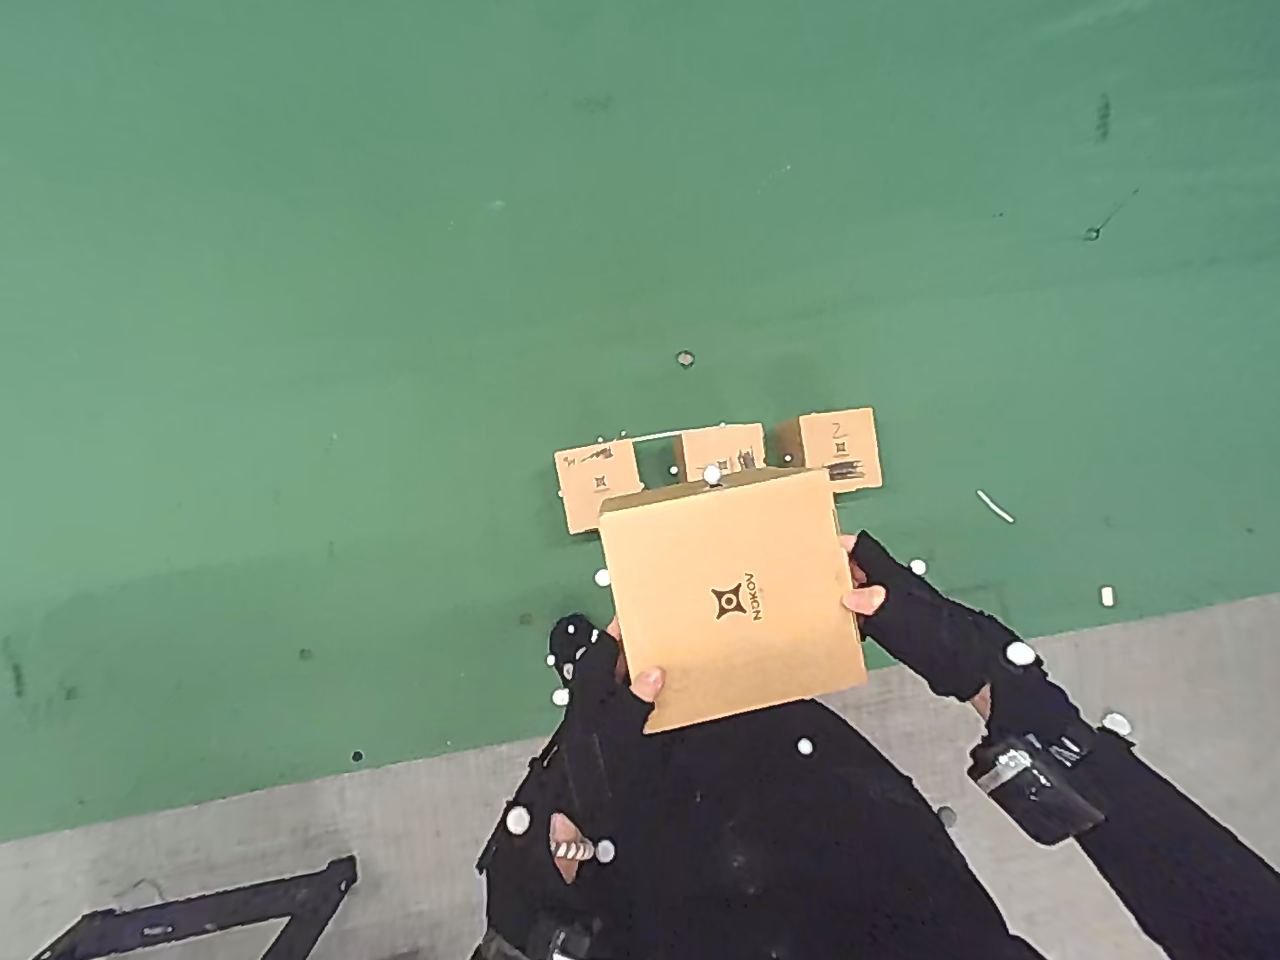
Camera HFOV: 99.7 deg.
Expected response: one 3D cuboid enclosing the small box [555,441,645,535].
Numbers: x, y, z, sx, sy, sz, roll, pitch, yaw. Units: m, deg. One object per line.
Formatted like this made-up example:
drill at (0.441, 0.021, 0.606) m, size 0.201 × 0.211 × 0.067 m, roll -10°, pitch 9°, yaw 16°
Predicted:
small box at (-0.086, 0.014, 1.193) m, size 0.168 × 0.176 × 0.179 m, roll -10°, pitch 91°, yaw -4°
